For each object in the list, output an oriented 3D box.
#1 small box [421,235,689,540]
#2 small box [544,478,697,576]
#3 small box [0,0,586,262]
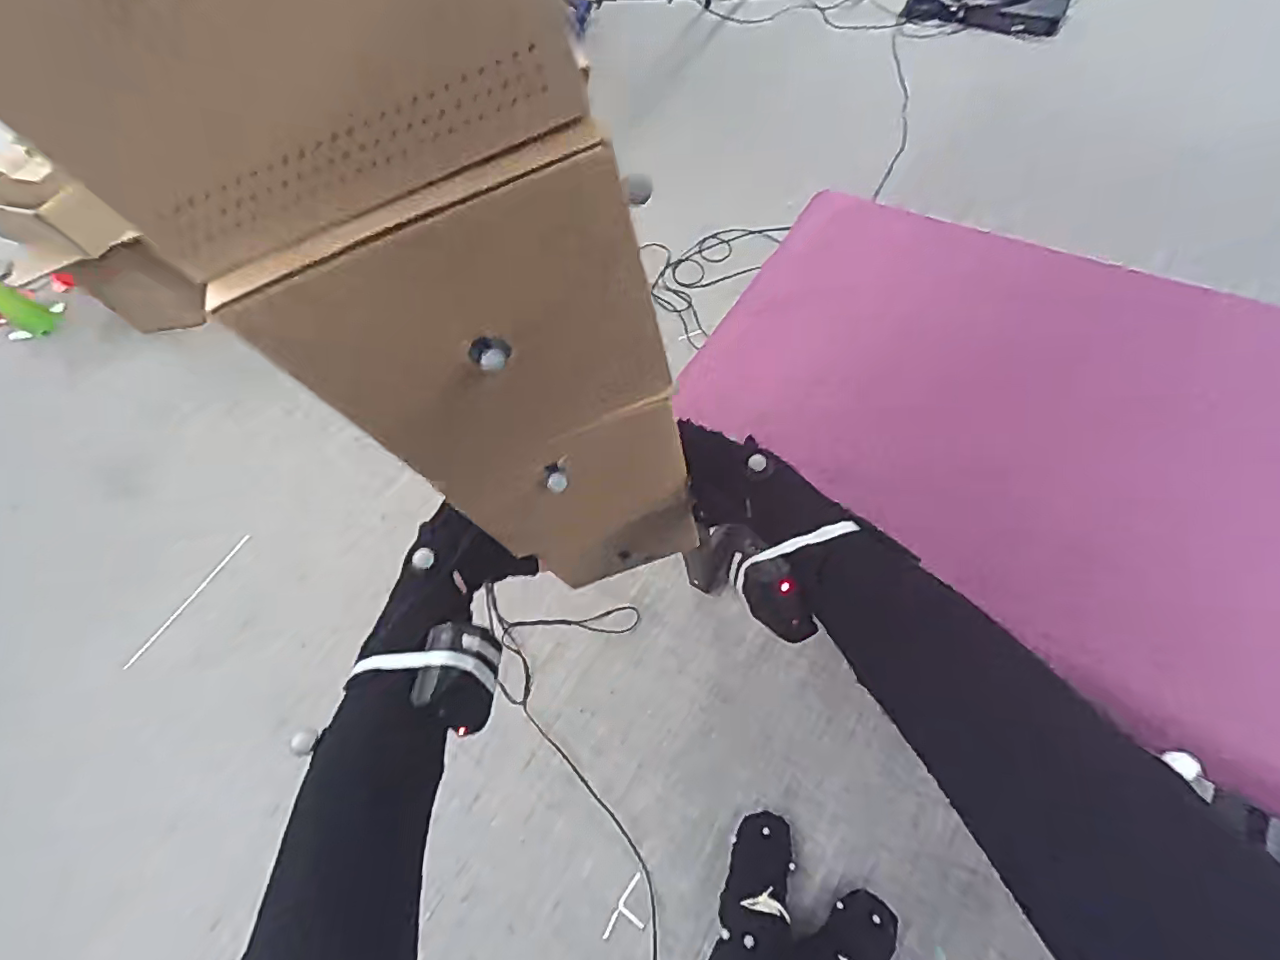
[{"bbox_3d":[-0.061,-0.066,0.467,0.179,0.176,0.168,-18,64,3],"label":"small box"},{"bbox_3d":[-0.040,-0.011,0.620,0.168,0.176,0.179,-18,64,2],"label":"small box"},{"bbox_3d":[-0.128,-0.213,0.180,0.179,0.176,0.168,-20,63,4],"label":"small box"}]
